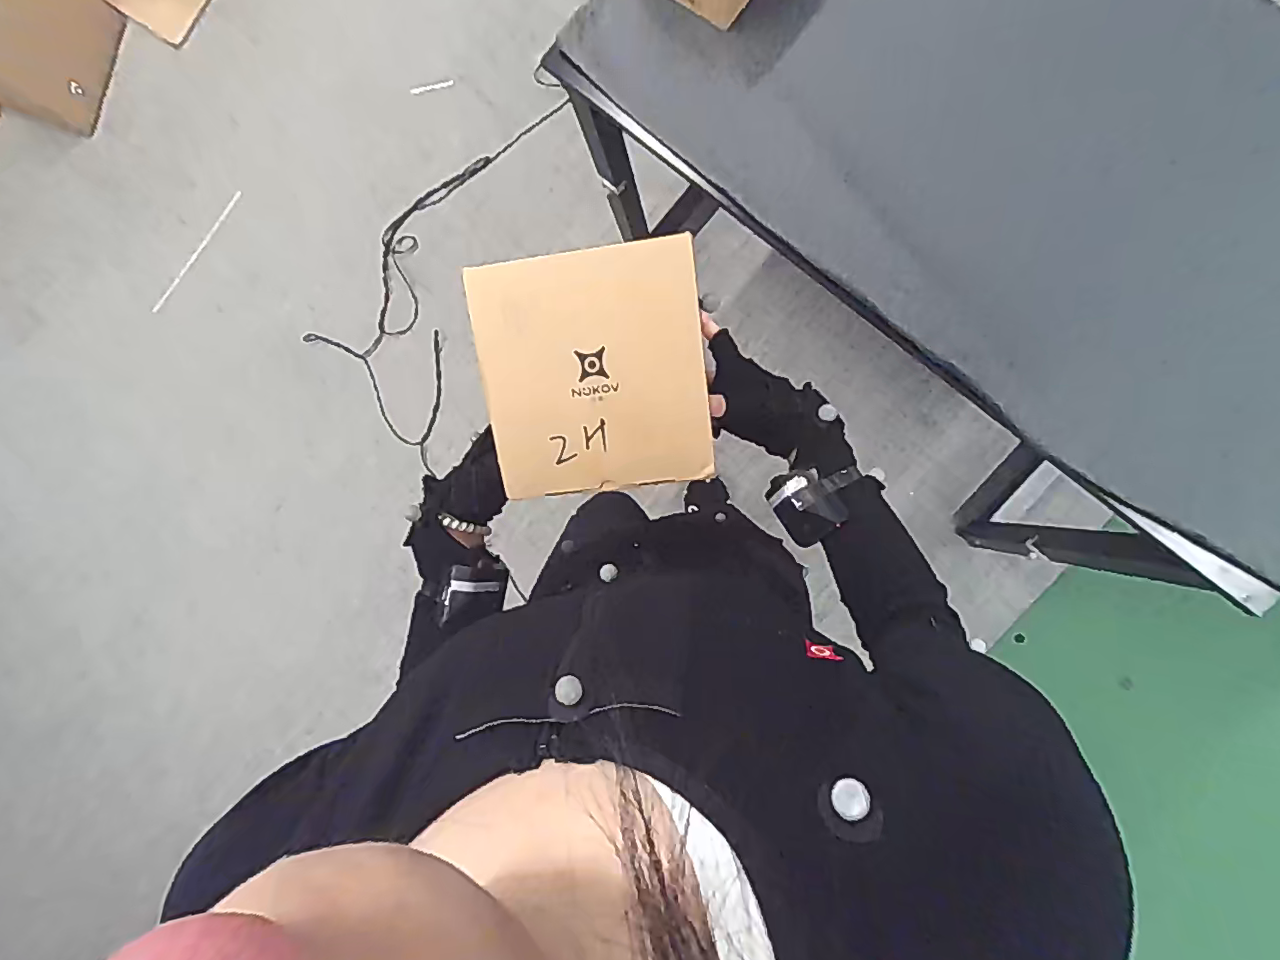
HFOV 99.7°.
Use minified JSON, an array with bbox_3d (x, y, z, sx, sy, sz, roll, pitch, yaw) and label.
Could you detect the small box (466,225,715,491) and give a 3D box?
[{"bbox_3d":[-0.029,-0.100,0.472,0.168,0.176,0.179,-6,103,6],"label":"small box"}]
